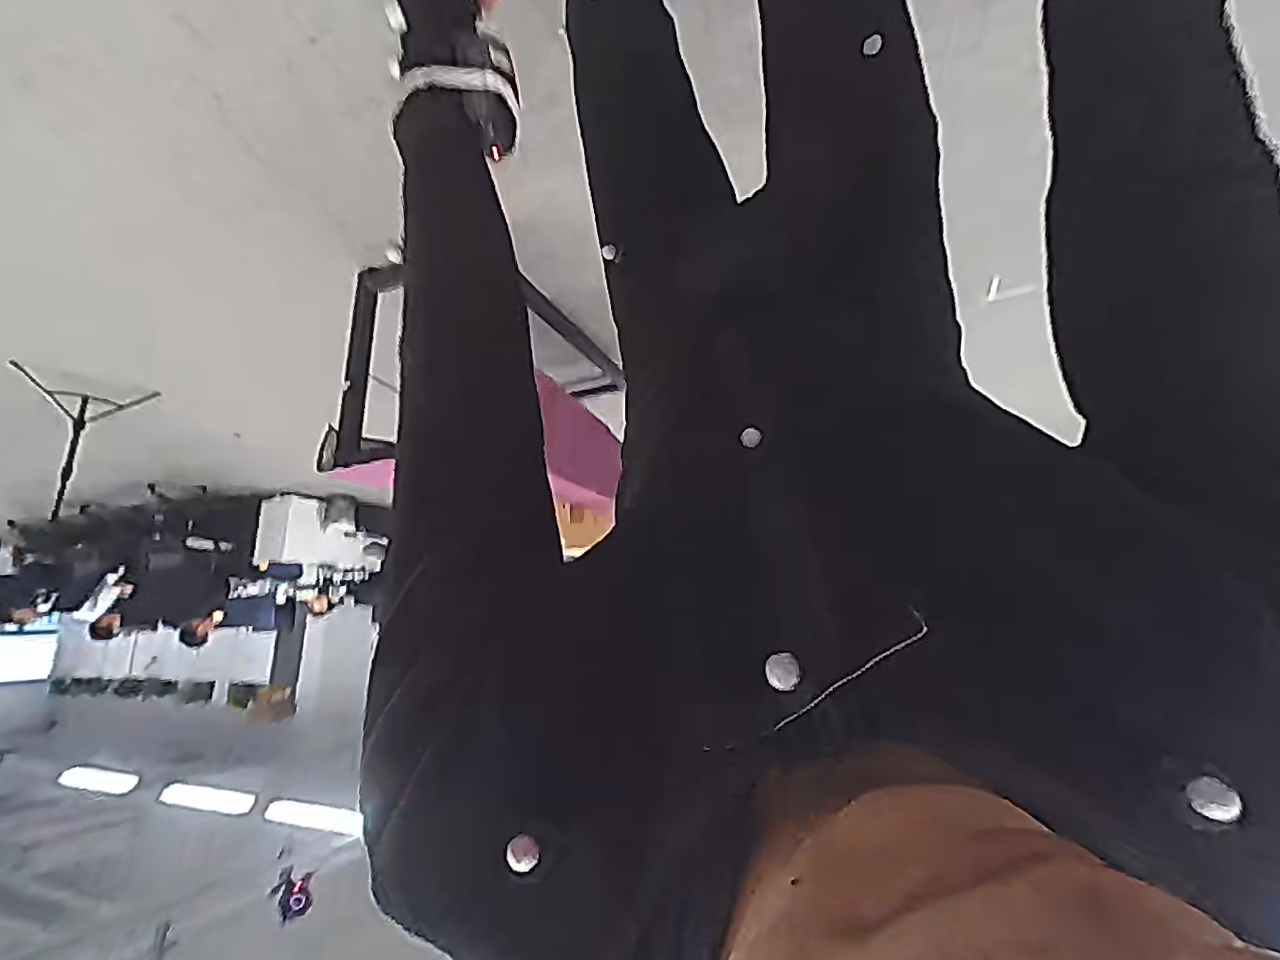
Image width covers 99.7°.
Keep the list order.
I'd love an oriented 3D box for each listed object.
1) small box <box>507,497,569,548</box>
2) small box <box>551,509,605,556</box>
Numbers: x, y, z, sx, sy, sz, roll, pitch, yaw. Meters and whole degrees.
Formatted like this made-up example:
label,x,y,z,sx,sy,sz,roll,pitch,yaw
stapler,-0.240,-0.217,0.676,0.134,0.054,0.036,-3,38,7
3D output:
label,x,y,z,sx,sy,sz,roll,pitch,yaw
small box,-0.388,0.163,2.056,0.179,0.176,0.168,-10,163,31
small box,-0.260,0.225,2.300,0.179,0.176,0.168,-11,163,29
